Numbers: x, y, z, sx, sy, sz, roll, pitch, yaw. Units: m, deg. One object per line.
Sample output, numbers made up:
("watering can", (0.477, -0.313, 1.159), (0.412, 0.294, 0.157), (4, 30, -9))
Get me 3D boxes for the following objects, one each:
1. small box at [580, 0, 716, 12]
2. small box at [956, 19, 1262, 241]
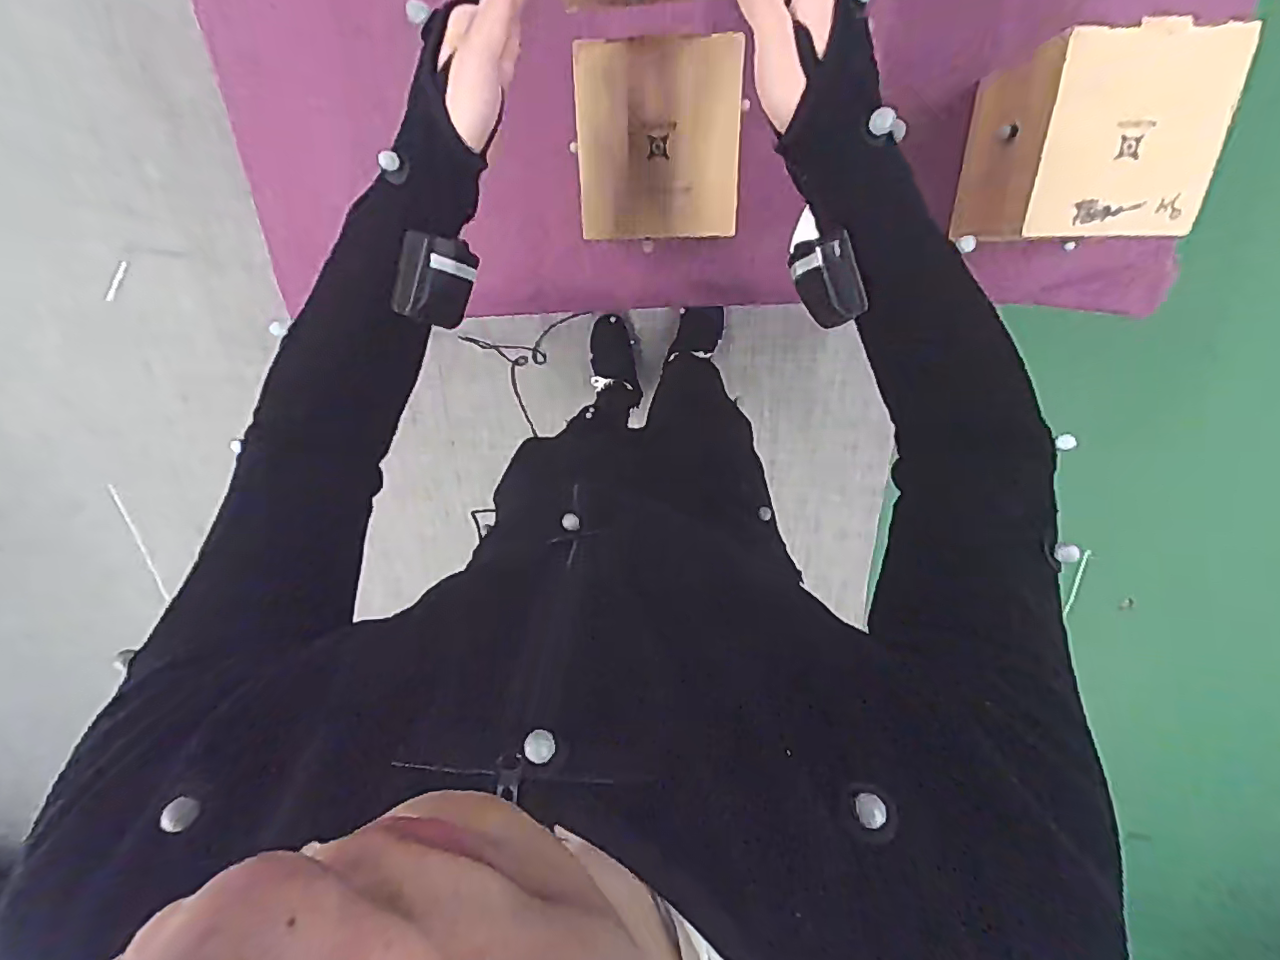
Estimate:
("small box", (0.011, -0.464, 0.373), (0.168, 0.176, 0.179), (-3, 119, 4))
("small box", (0.479, -0.361, 0.591), (0.168, 0.176, 0.179), (2, 112, 4))
